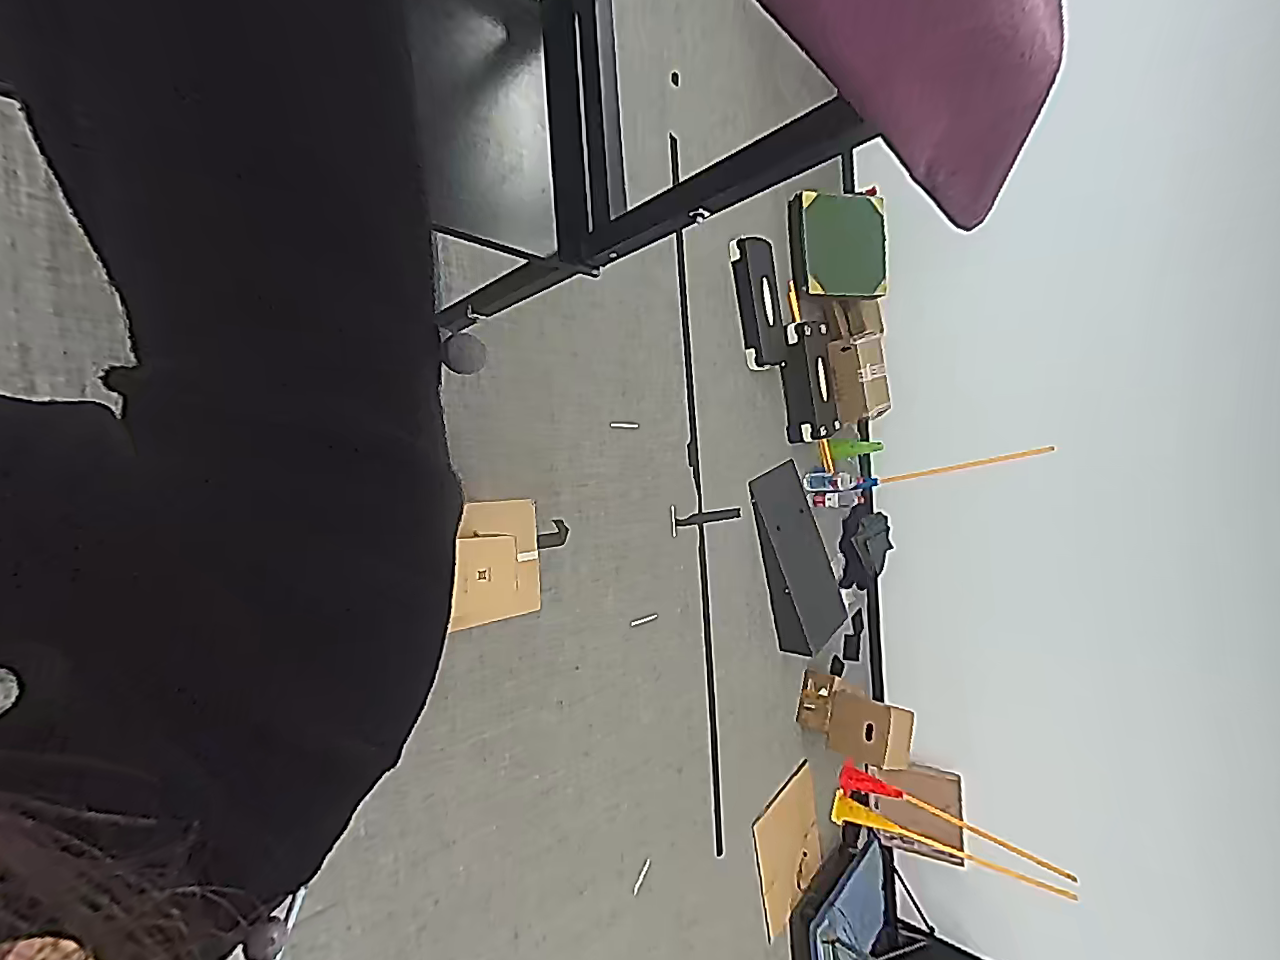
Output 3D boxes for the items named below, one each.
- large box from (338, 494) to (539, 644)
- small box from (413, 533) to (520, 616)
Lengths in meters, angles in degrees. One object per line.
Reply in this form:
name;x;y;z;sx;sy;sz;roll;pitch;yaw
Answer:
large box;-0.529;0.209;1.439;0.408;0.320;0.320;-3;91;-47
small box;-0.393;0.206;1.226;0.179;0.176;0.168;2;85;-46
